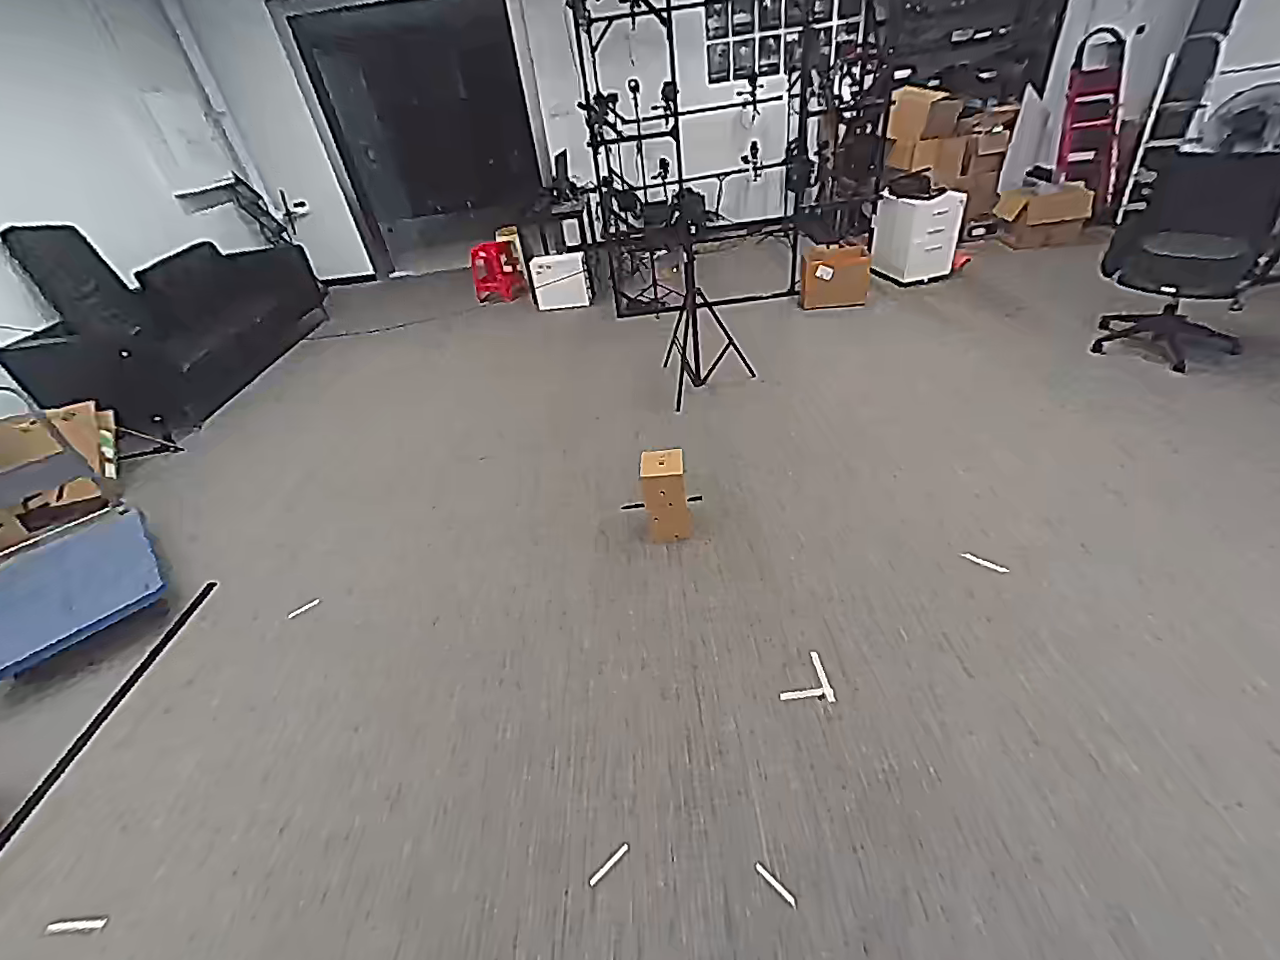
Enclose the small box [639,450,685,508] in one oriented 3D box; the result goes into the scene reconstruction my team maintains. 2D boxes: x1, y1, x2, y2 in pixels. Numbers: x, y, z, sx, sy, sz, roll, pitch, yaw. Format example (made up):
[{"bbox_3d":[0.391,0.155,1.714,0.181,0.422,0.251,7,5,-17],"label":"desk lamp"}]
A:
[{"bbox_3d":[0.092,0.001,2.158,0.168,0.176,0.179,-4,35,6],"label":"small box"}]
